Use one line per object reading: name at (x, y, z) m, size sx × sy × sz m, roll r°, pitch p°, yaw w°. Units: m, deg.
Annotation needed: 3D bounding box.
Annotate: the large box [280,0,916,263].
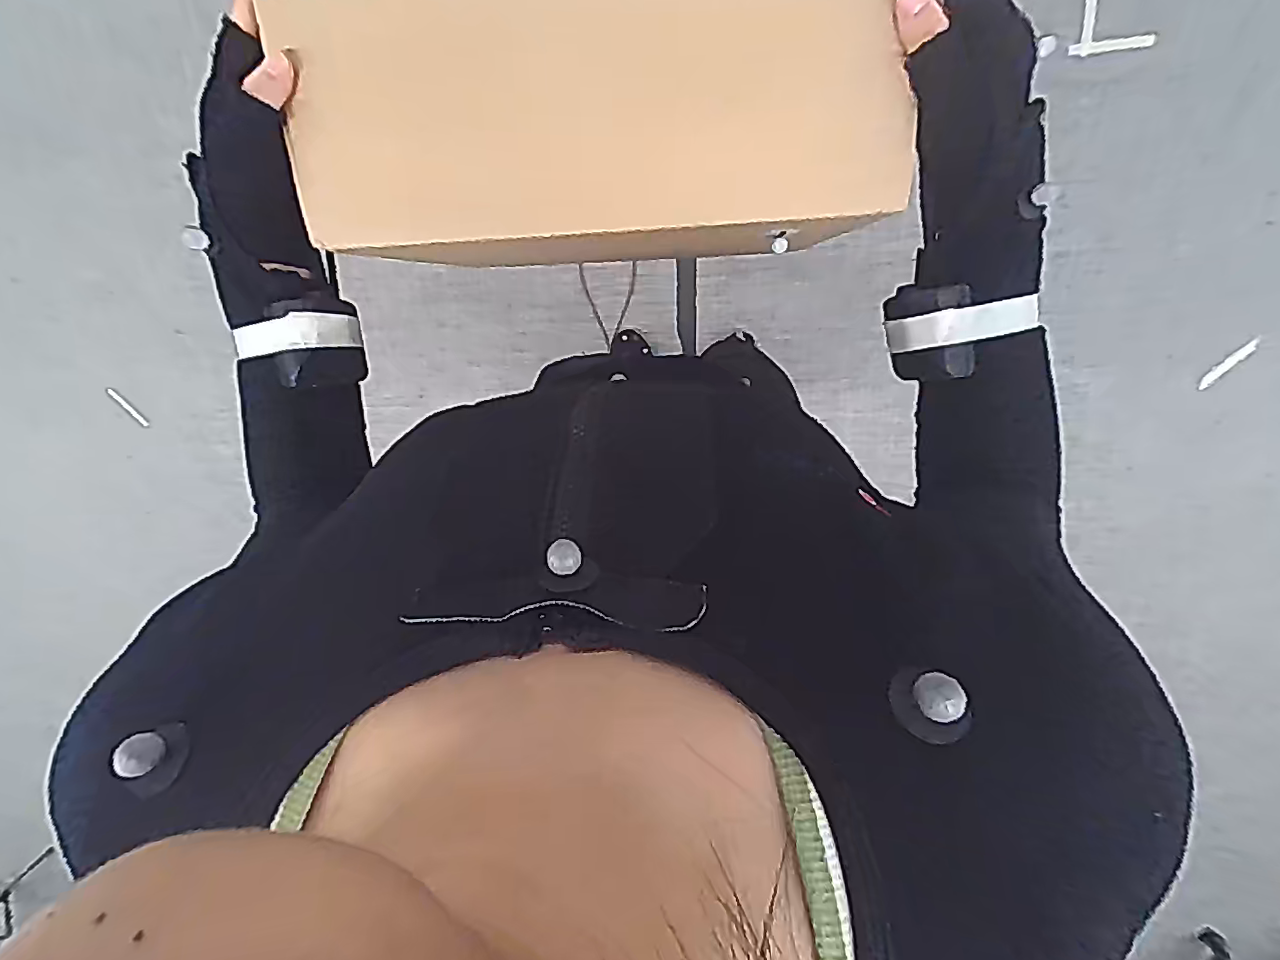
large box at (-0.021, -0.369, 0.466) m, size 0.408 × 0.320 × 0.320 m, roll -1°, pitch 109°, yaw 5°
